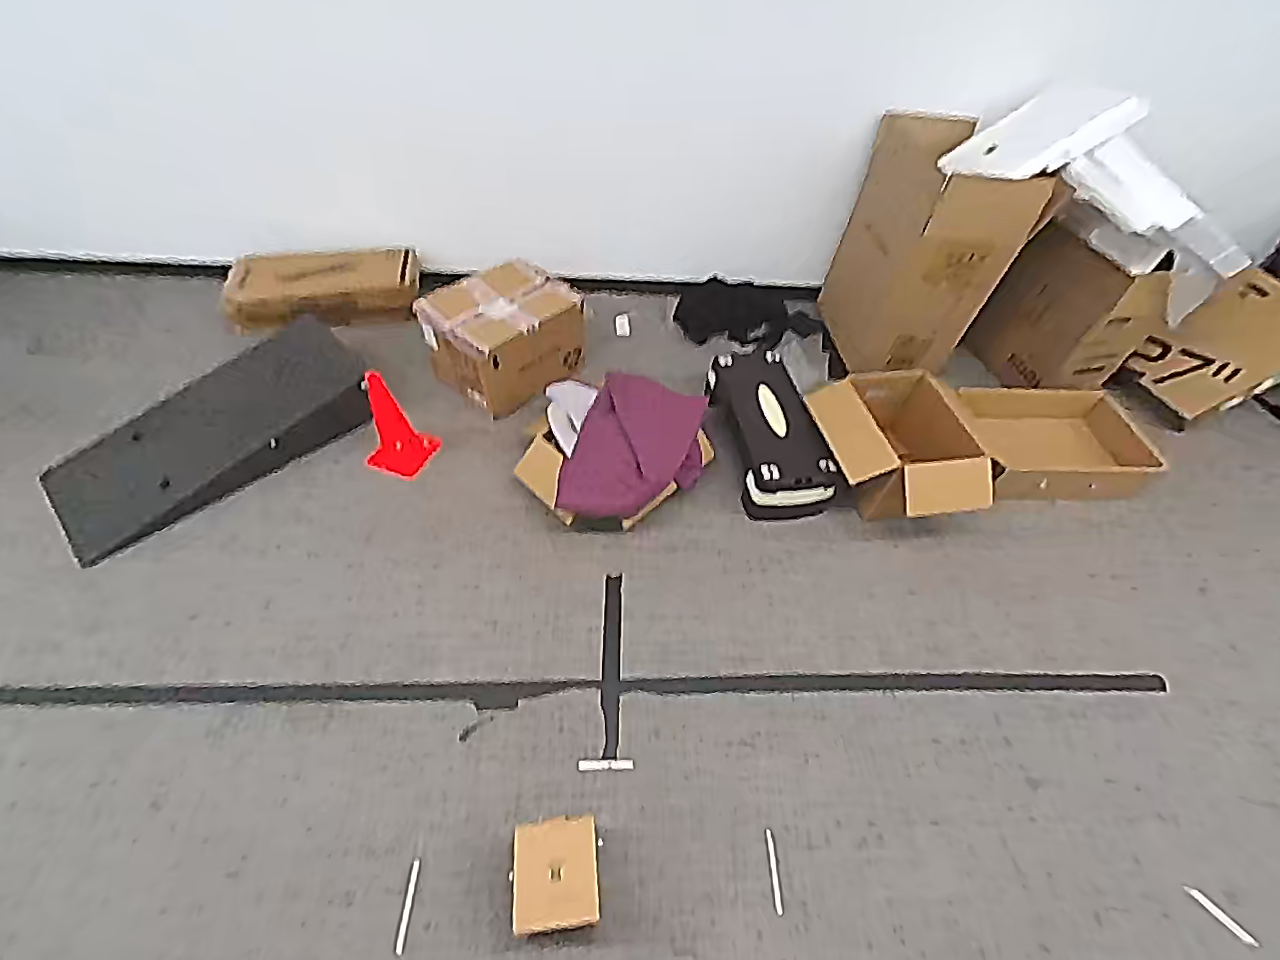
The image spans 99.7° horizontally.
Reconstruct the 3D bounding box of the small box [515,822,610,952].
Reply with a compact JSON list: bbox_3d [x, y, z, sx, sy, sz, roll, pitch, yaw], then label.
[{"bbox_3d":[-0.150,0.790,1.052,0.168,0.176,0.179,-5,53,-7],"label":"small box"}]
